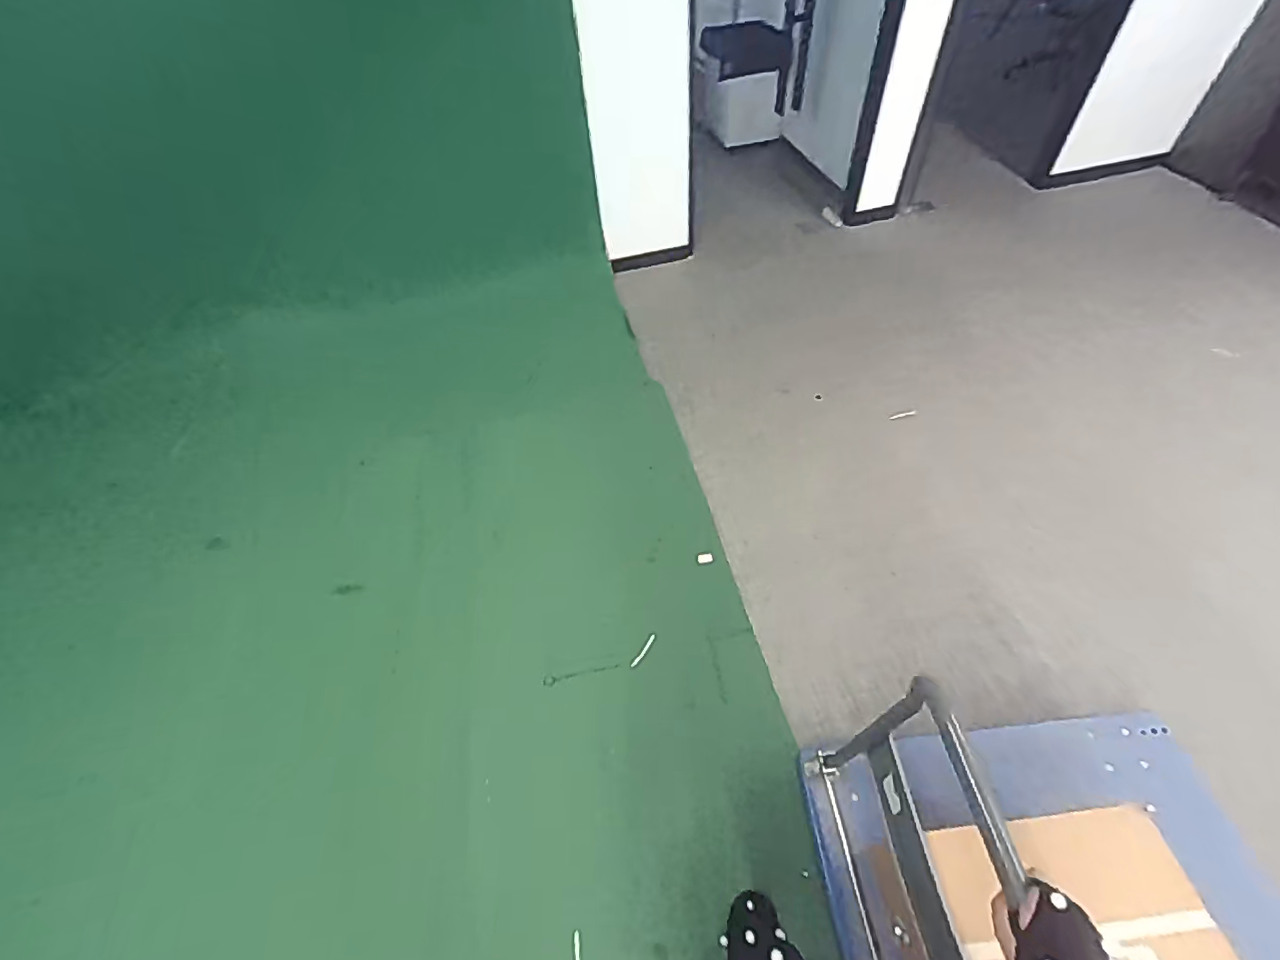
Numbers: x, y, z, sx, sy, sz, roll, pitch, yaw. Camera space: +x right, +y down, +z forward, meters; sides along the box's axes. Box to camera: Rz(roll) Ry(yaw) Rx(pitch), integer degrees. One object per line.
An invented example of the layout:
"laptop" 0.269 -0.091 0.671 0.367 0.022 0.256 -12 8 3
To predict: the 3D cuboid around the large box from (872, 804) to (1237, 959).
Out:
"large box" 0.692 0.795 0.943 0.408 0.320 0.320 -7 51 -2
